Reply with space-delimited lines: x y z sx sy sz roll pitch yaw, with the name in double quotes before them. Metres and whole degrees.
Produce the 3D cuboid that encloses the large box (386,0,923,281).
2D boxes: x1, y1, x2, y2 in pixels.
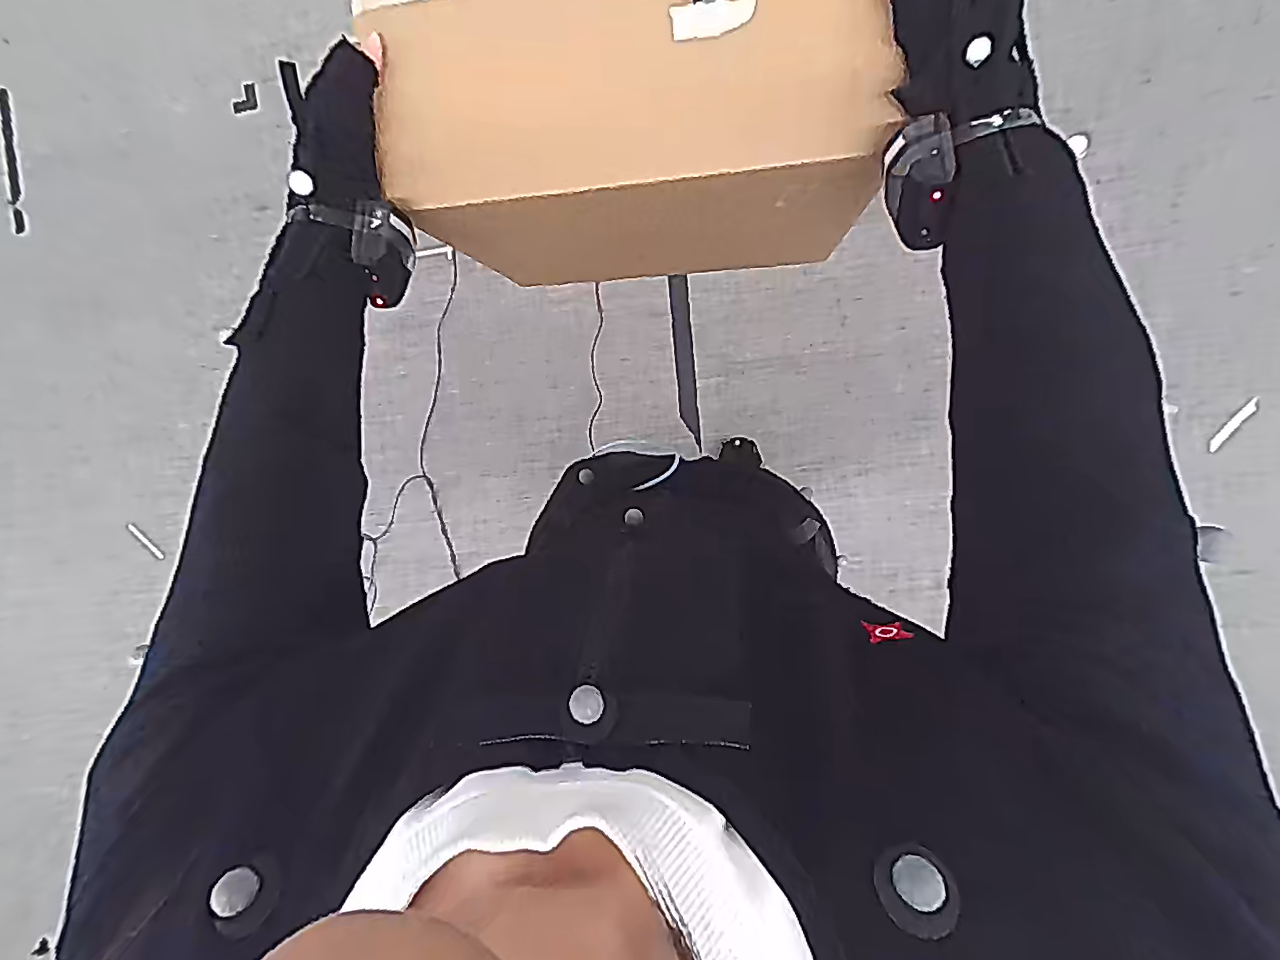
"large box" 0.014 -0.409 0.542 0.408 0.320 0.320 -3 99 8
